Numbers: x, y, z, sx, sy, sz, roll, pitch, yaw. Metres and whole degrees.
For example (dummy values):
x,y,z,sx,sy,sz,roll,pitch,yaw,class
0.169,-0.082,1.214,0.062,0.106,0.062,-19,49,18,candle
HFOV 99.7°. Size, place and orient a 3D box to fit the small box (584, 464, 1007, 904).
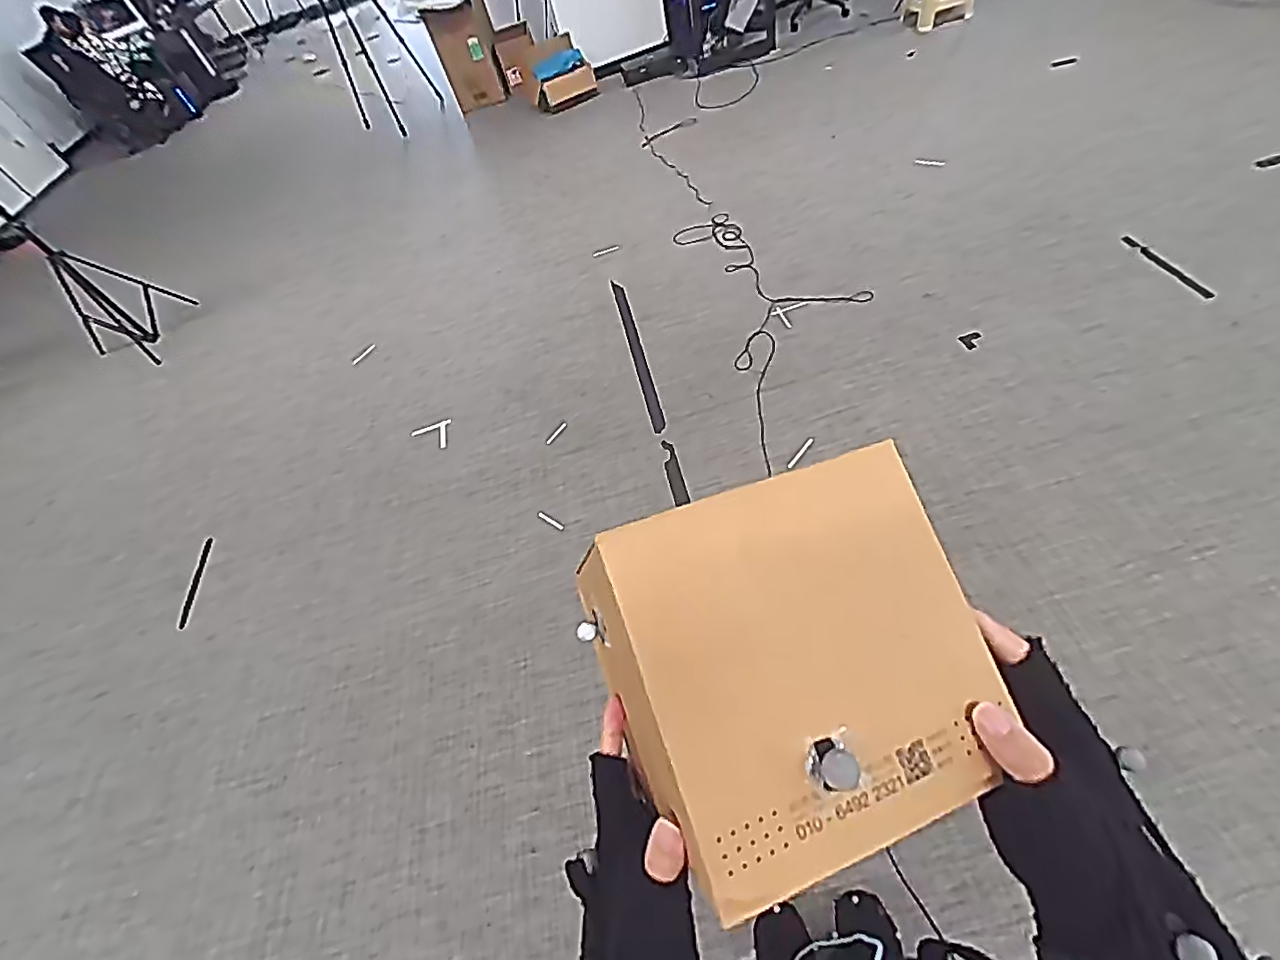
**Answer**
x,y,z,sx,sy,sz,roll,pitch,yaw,class
0.070,0.112,0.340,0.168,0.179,0.176,-17,78,-14,small box
